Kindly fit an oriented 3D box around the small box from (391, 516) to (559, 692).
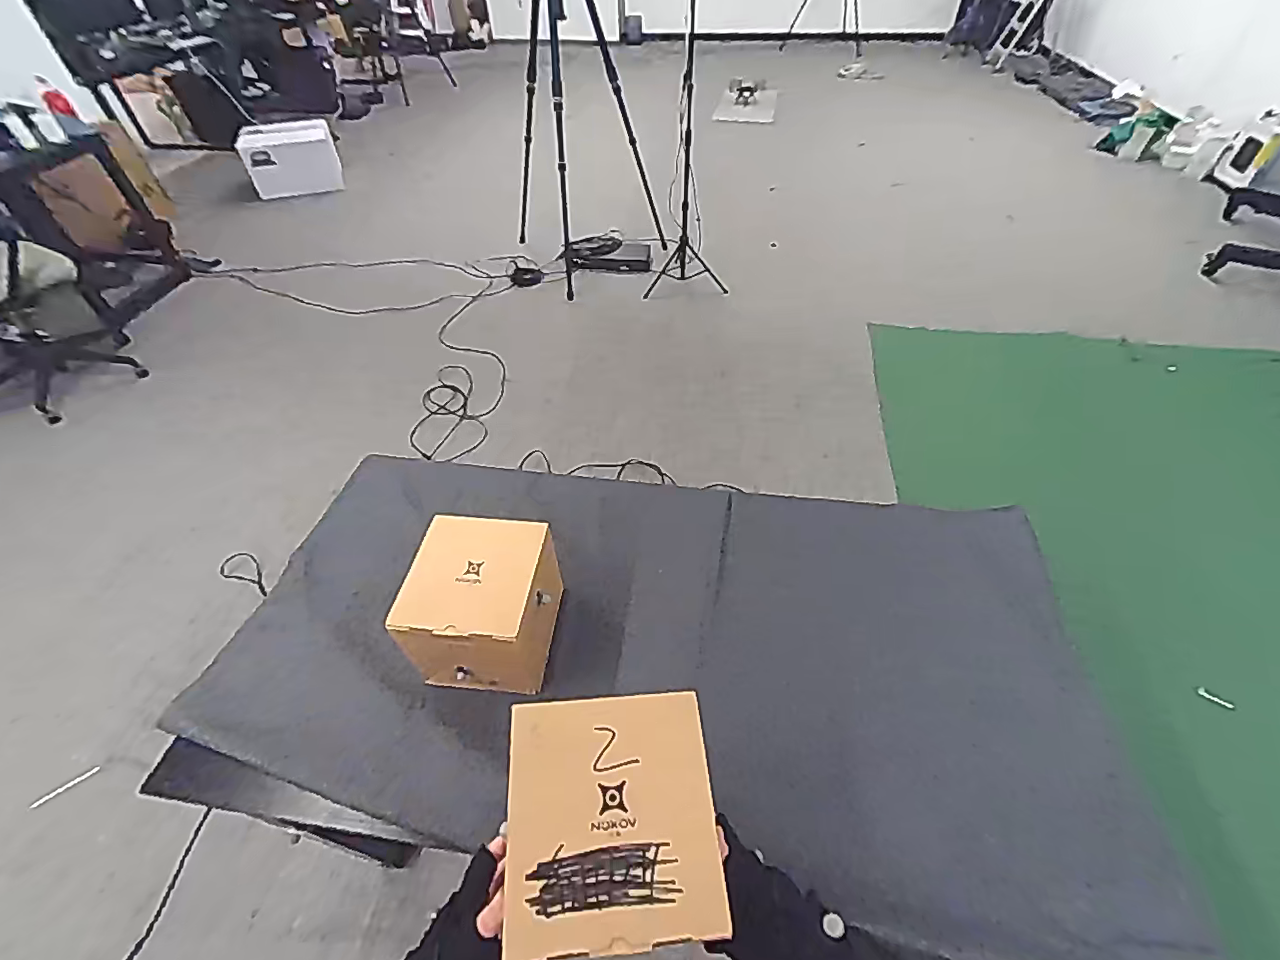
[{"bbox_3d":[-0.216,0.176,0.768,0.168,0.176,0.179,5,48,4],"label":"small box"}]
